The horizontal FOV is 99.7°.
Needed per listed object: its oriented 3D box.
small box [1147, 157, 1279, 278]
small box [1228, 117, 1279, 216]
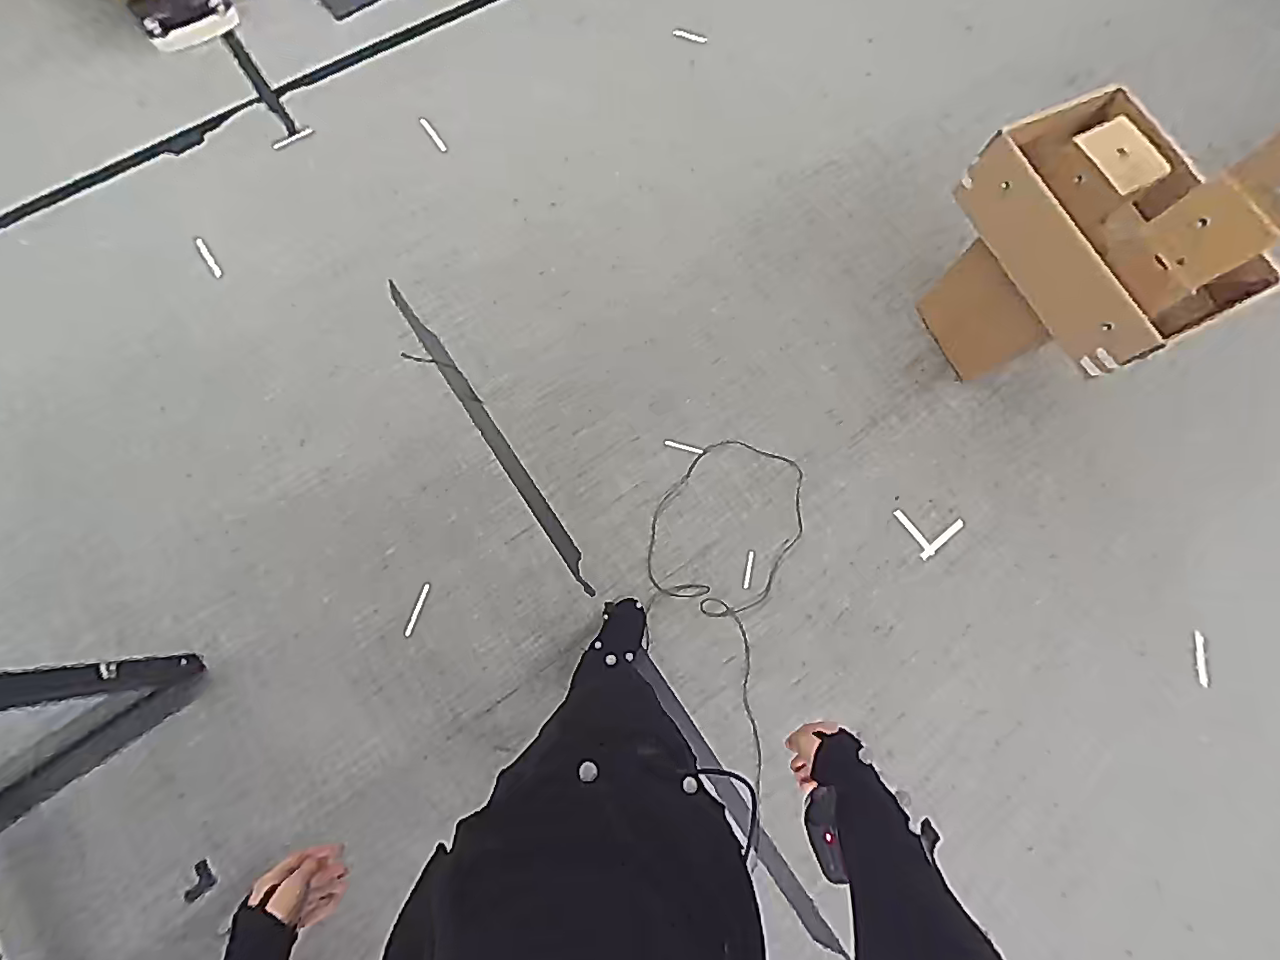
[{"bbox_3d":[1.182,-0.539,1.078,0.179,0.176,0.168,-27,79,-11],"label":"small box"},{"bbox_3d":[1.197,-0.580,0.920,0.168,0.176,0.179,-29,79,-12],"label":"small box"}]
